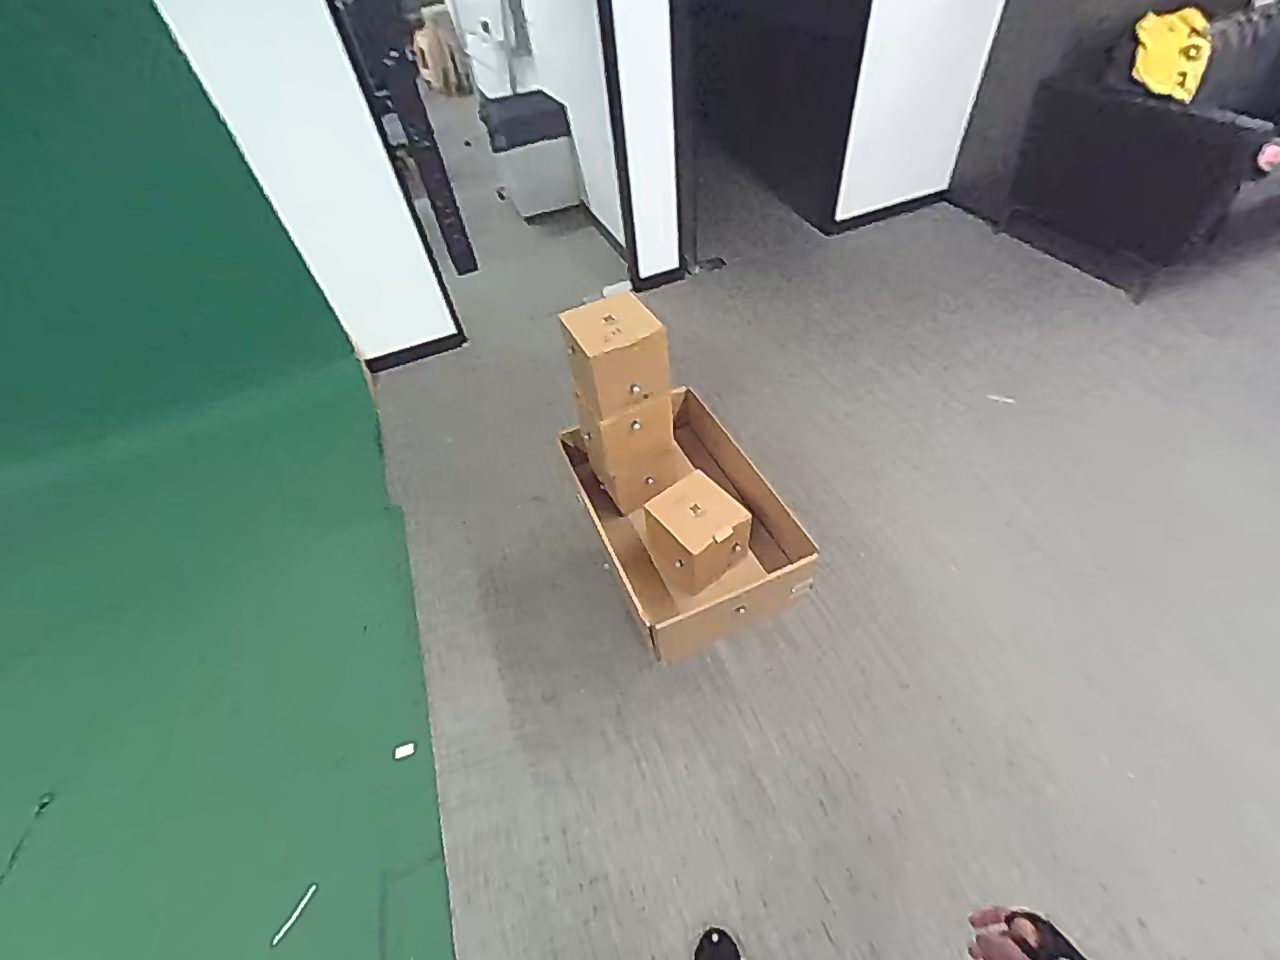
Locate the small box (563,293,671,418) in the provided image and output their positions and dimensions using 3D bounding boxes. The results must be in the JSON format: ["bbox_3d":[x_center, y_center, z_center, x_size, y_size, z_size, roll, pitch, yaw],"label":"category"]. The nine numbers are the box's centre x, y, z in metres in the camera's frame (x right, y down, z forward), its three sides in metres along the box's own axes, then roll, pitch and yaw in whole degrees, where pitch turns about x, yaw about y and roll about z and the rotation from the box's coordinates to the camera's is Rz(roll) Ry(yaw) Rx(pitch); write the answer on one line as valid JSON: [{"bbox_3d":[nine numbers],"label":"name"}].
[{"bbox_3d":[-0.046,-0.264,1.150,0.168,0.176,0.179,-24,51,-12],"label":"small box"}]

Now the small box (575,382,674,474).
[{"bbox_3d":[-0.031,-0.147,1.267,0.179,0.176,0.168,-26,51,-13],"label":"small box"}]

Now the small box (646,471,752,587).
[{"bbox_3d":[0.135,0.119,1.234,0.168,0.176,0.179,-31,52,-20],"label":"small box"}]
